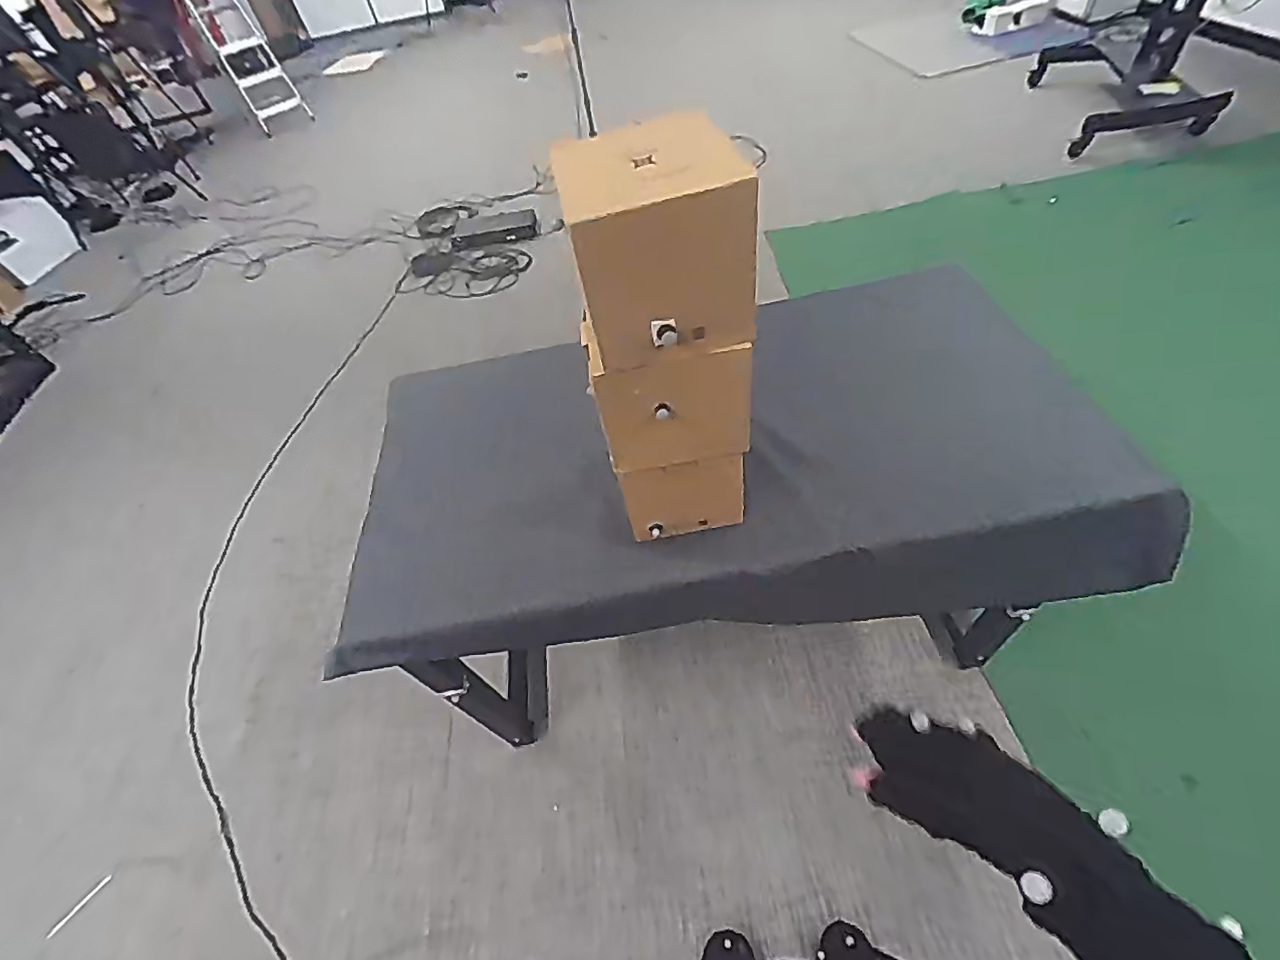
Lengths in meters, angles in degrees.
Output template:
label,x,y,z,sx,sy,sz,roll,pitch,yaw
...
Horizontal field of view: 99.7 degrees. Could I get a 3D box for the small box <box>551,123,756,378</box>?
label,x,y,z,sx,sy,sz,roll,pitch,yaw
small box,0.014,-0.237,0.568,0.168,0.176,0.179,-15,51,-1

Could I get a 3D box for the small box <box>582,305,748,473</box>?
label,x,y,z,sx,sy,sz,roll,pitch,yaw
small box,0.034,-0.129,0.691,0.179,0.176,0.168,-12,48,0

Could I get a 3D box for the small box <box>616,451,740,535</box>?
label,x,y,z,sx,sy,sz,roll,pitch,yaw
small box,0.054,-0.032,0.818,0.168,0.176,0.179,-11,49,2
